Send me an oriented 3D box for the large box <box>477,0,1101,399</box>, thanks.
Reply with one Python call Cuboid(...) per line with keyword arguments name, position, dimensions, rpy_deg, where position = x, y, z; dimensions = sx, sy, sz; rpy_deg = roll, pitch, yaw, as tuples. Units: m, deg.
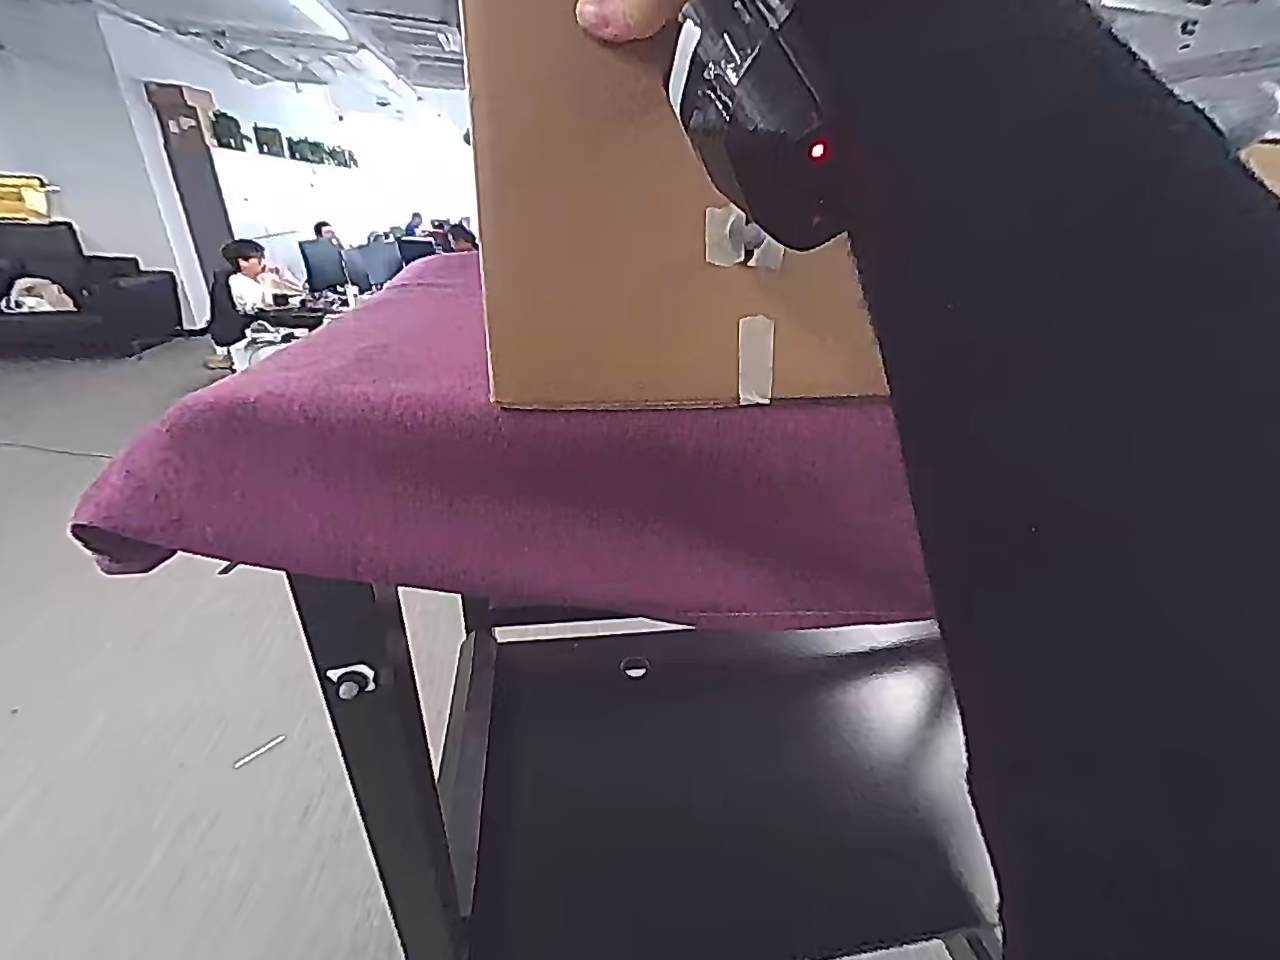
Cuboid(name="large box", position=(0.041, -0.272, 0.426), dimensions=(0.320, 0.320, 0.408), rpy_deg=(-3, 26, -12))
